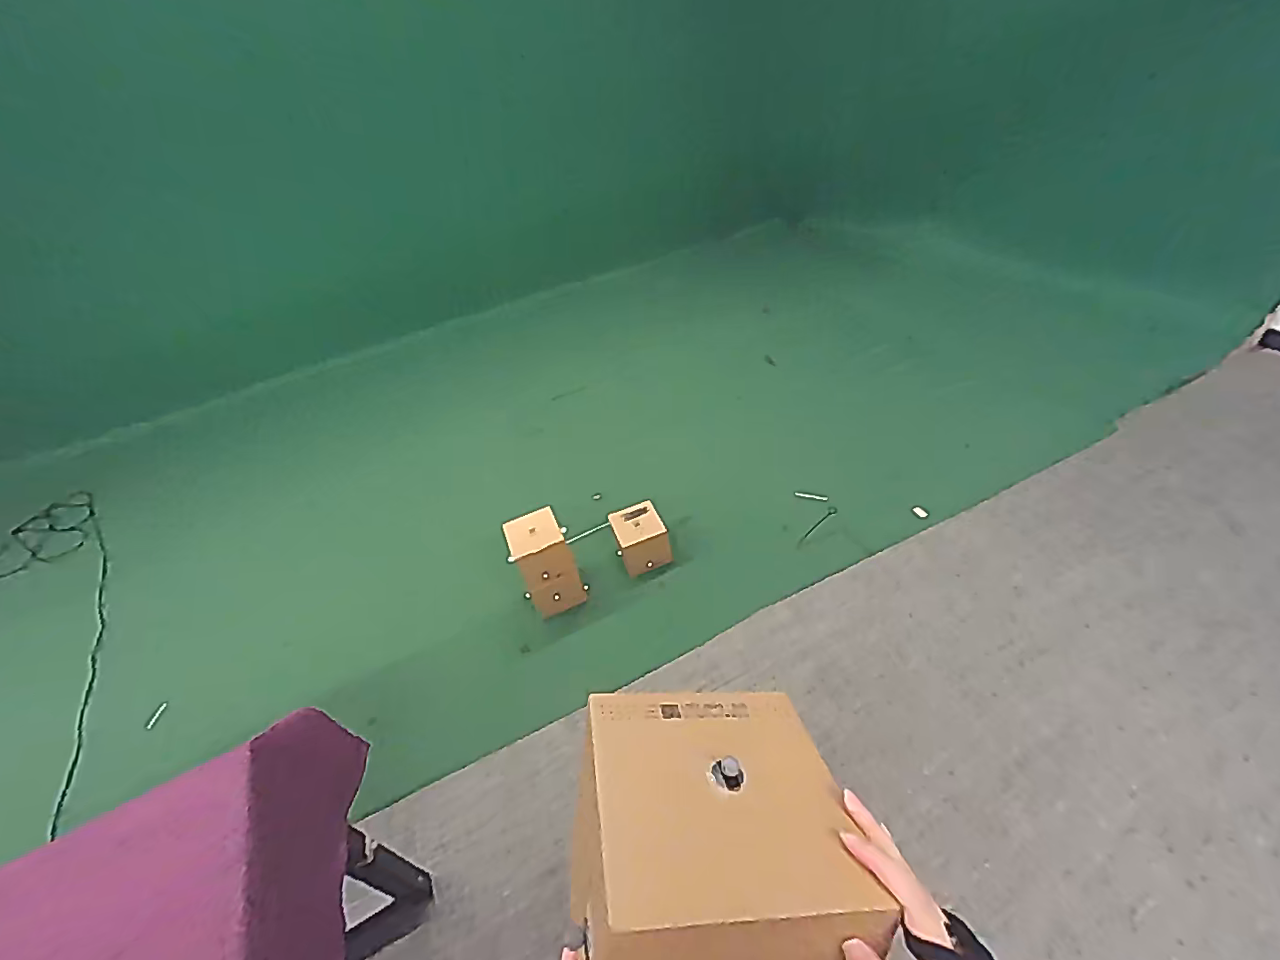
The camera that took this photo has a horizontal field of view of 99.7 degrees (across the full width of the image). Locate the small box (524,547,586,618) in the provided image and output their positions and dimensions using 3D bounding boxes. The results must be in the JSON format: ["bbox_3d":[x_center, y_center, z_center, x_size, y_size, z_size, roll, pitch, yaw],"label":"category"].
[{"bbox_3d":[-0.299,0.343,1.870,0.179,0.176,0.168,-24,42,-10],"label":"small box"}]

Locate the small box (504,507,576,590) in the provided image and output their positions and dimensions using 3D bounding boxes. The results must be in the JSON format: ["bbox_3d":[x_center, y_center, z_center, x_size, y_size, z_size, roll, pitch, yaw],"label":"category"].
[{"bbox_3d":[-0.324,0.224,1.761,0.168,0.176,0.179,-23,42,-11],"label":"small box"}]
